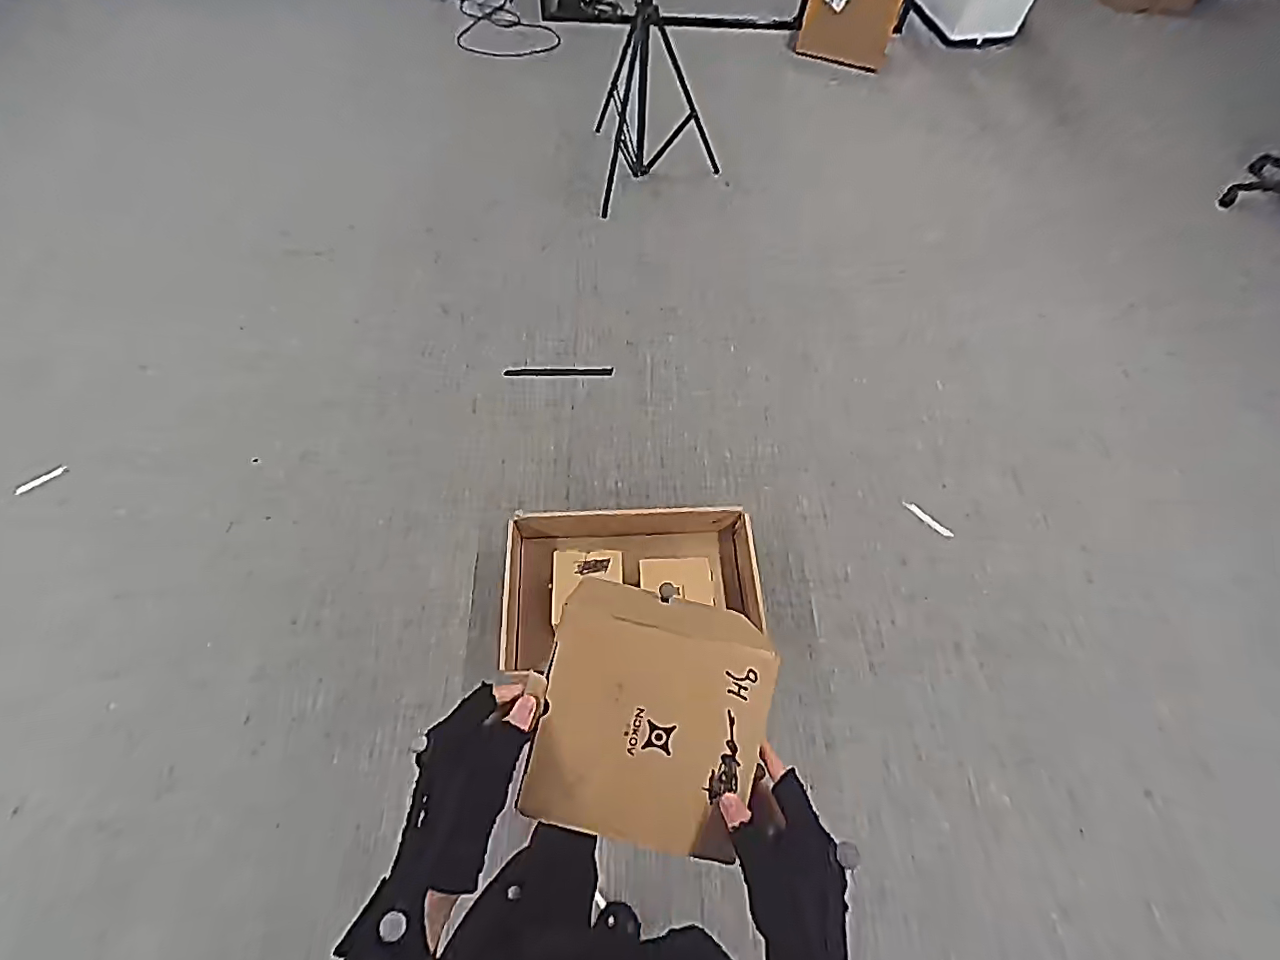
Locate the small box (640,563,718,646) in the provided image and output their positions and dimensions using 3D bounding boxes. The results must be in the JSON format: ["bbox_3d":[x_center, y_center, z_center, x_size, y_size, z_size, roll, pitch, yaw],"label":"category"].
[{"bbox_3d":[0.090,0.313,1.346,0.179,0.176,0.168,-1,61,-1],"label":"small box"}]
